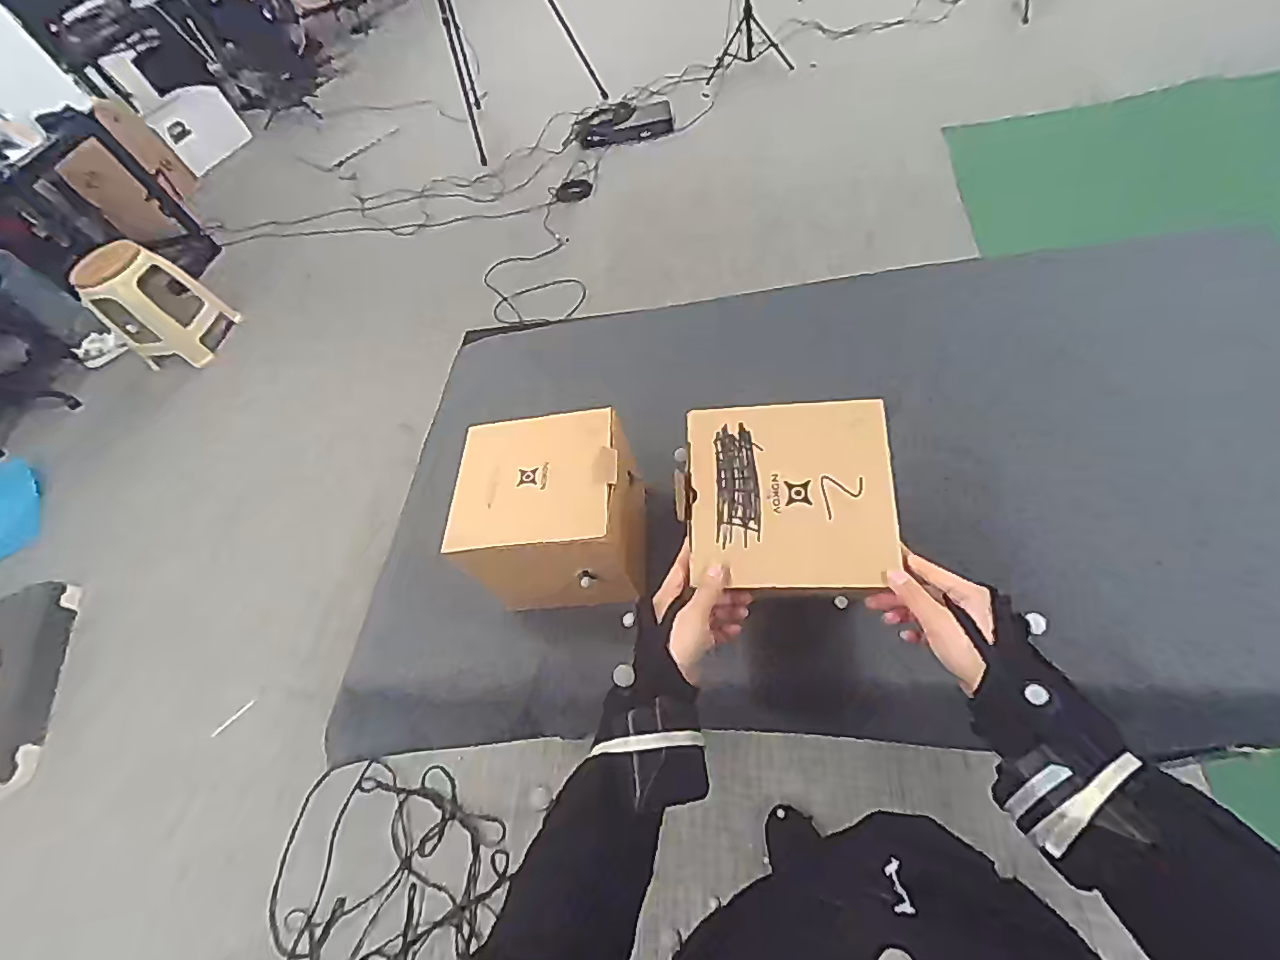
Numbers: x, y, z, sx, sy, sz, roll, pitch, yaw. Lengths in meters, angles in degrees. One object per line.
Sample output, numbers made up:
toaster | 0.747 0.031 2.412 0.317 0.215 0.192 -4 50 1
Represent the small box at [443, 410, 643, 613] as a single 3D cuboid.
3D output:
small box | -0.095 0.044 0.629 0.179 0.176 0.168 -8 54 11
